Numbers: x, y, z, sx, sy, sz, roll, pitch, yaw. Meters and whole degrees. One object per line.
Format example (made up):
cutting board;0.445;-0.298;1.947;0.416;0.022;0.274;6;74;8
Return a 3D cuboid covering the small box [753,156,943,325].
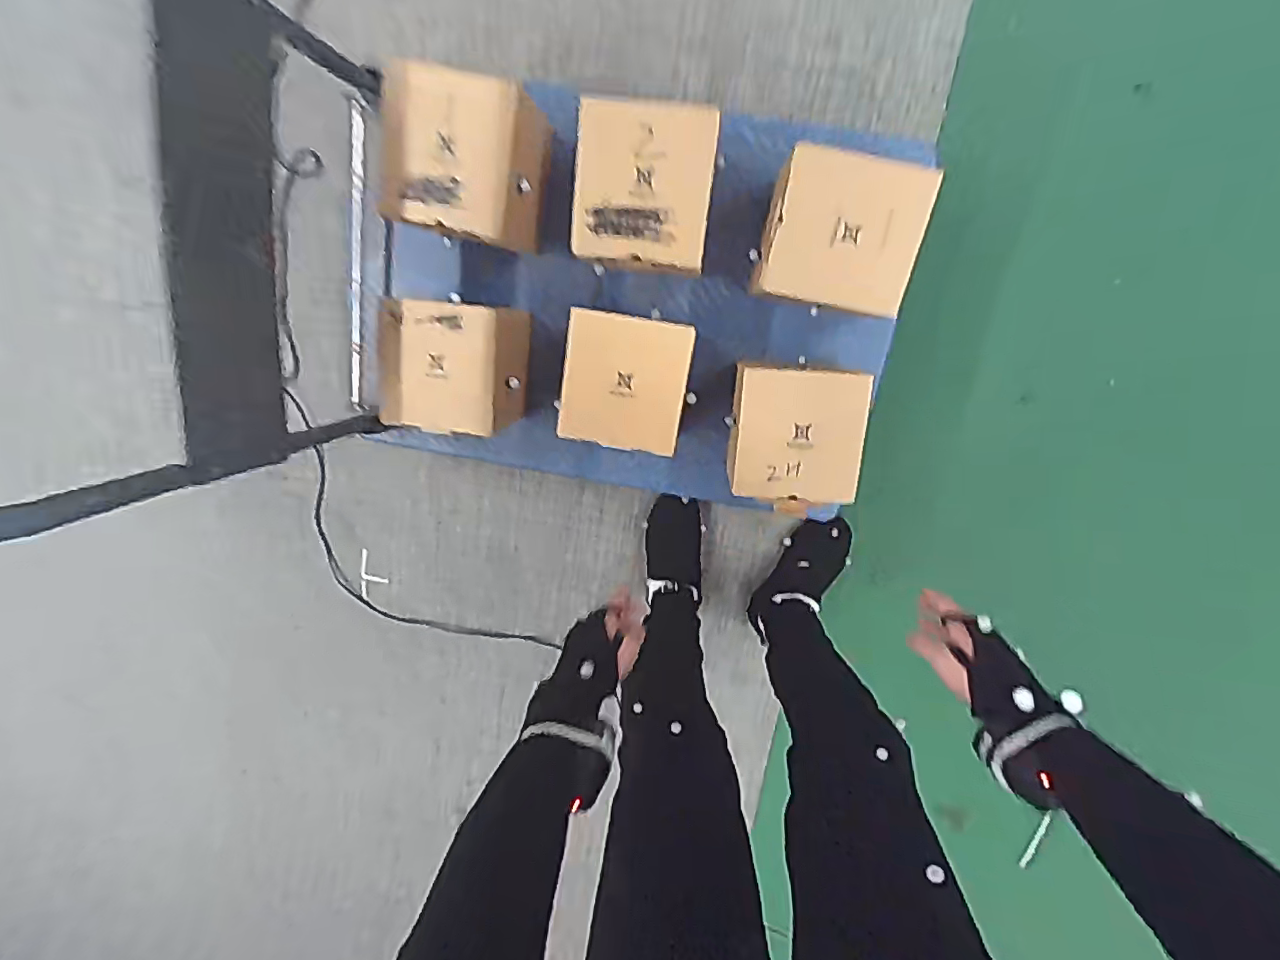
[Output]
small box;0.260;-0.308;0.729;0.179;0.176;0.168;13;107;2

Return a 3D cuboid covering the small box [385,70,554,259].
small box;-0.225;-0.416;0.746;0.168;0.176;0.179;12;106;2

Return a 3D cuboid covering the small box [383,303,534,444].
small box;-0.266;-0.166;0.819;0.168;0.176;0.179;8;107;3

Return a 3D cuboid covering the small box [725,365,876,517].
small box;0.220;-0.067;0.796;0.168;0.176;0.179;11;107;5
